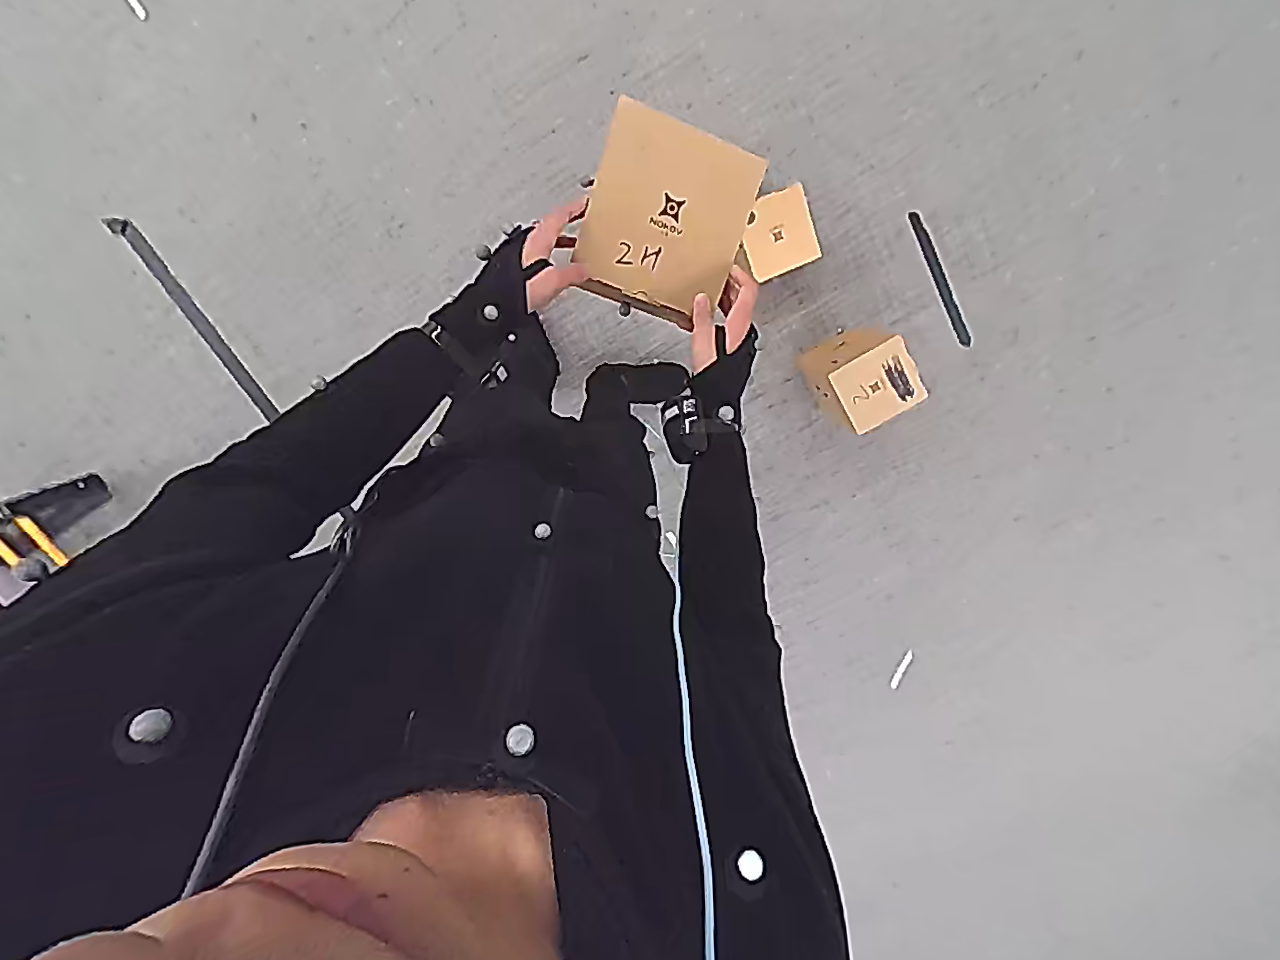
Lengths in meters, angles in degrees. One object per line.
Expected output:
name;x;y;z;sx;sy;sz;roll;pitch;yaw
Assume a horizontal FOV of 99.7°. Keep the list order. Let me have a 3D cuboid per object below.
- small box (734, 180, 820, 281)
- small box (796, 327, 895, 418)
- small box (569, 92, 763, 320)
small box;0.326;-0.611;1.347;0.168;0.176;0.179;-20;106;9
small box;0.542;-0.294;1.448;0.168;0.176;0.179;-29;107;11
small box;0.015;-0.301;0.639;0.168;0.176;0.179;16;103;-12
